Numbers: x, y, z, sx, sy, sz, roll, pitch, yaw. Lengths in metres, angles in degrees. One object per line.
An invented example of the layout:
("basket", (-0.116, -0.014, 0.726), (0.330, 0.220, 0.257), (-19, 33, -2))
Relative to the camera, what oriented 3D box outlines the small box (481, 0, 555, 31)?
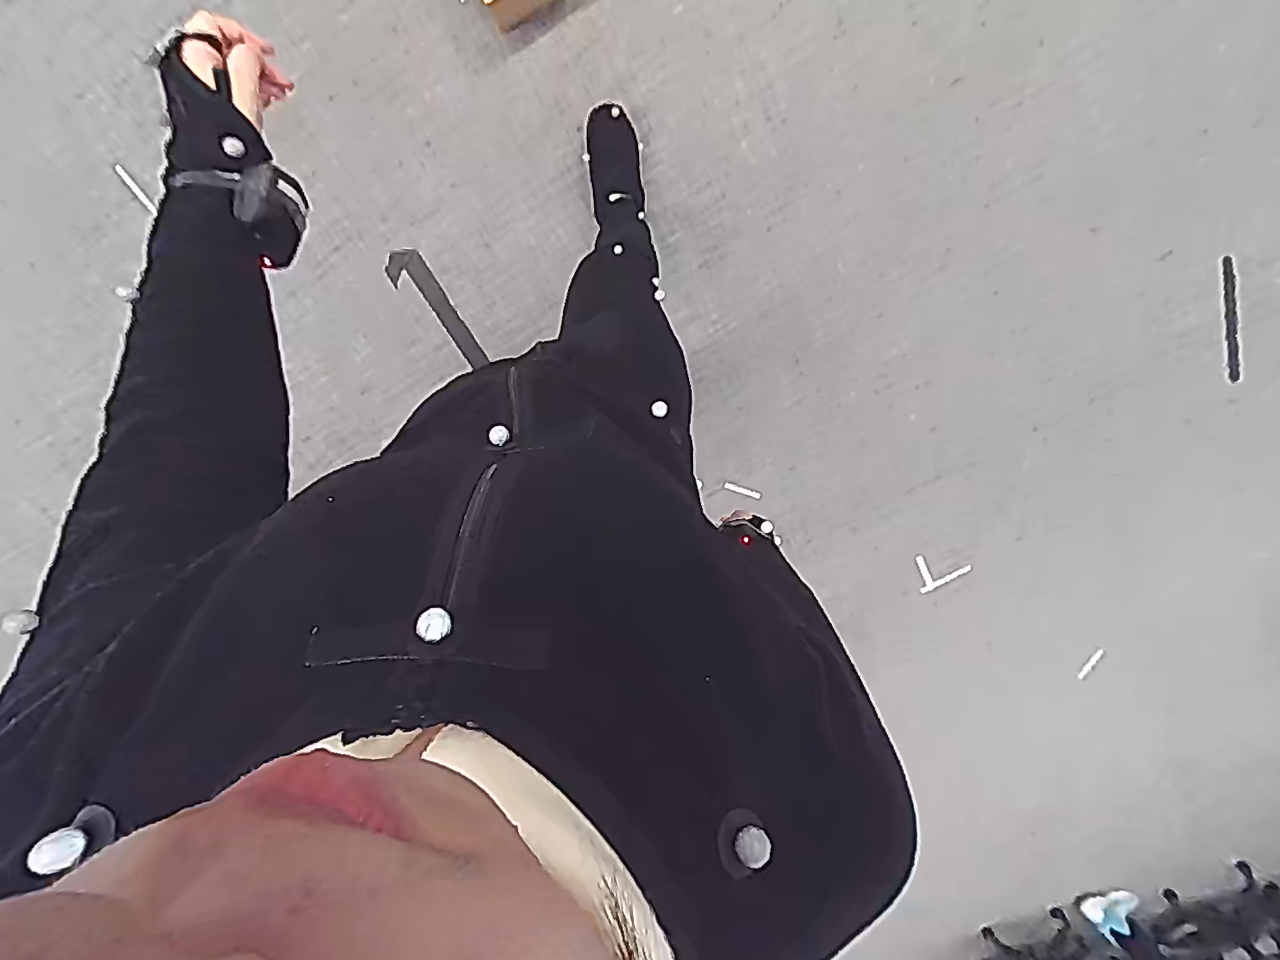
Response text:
("small box", (-0.235, -0.961, 0.968), (0.179, 0.176, 0.168), (-25, 114, 7))
